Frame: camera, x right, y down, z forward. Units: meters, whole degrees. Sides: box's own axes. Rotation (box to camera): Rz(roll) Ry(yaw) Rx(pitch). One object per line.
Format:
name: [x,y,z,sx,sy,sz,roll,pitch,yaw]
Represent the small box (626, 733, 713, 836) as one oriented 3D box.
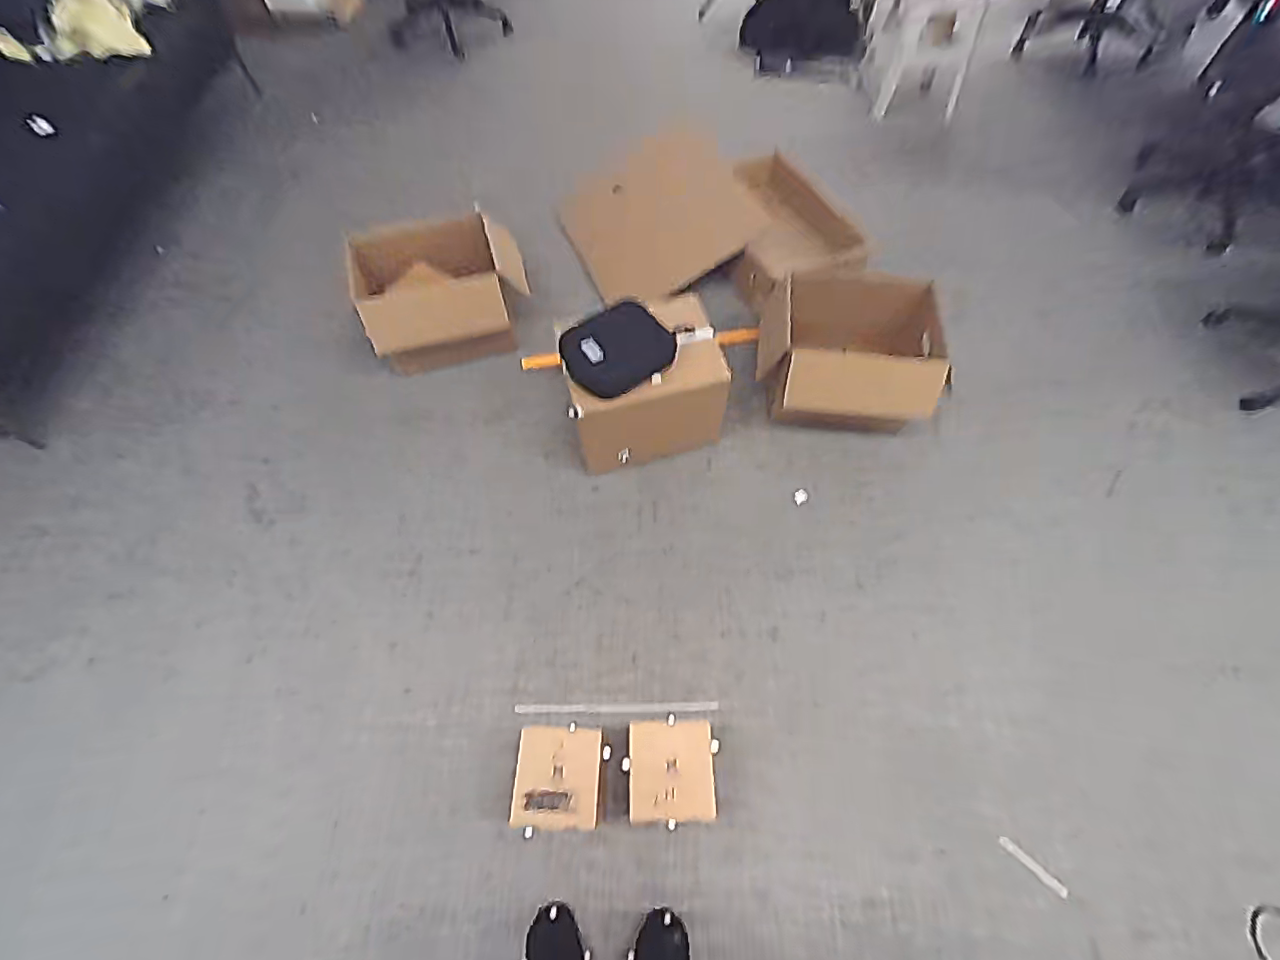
small box: [0.056,0.629,1.118,0.168,0.176,0.179,-1,59,1]
